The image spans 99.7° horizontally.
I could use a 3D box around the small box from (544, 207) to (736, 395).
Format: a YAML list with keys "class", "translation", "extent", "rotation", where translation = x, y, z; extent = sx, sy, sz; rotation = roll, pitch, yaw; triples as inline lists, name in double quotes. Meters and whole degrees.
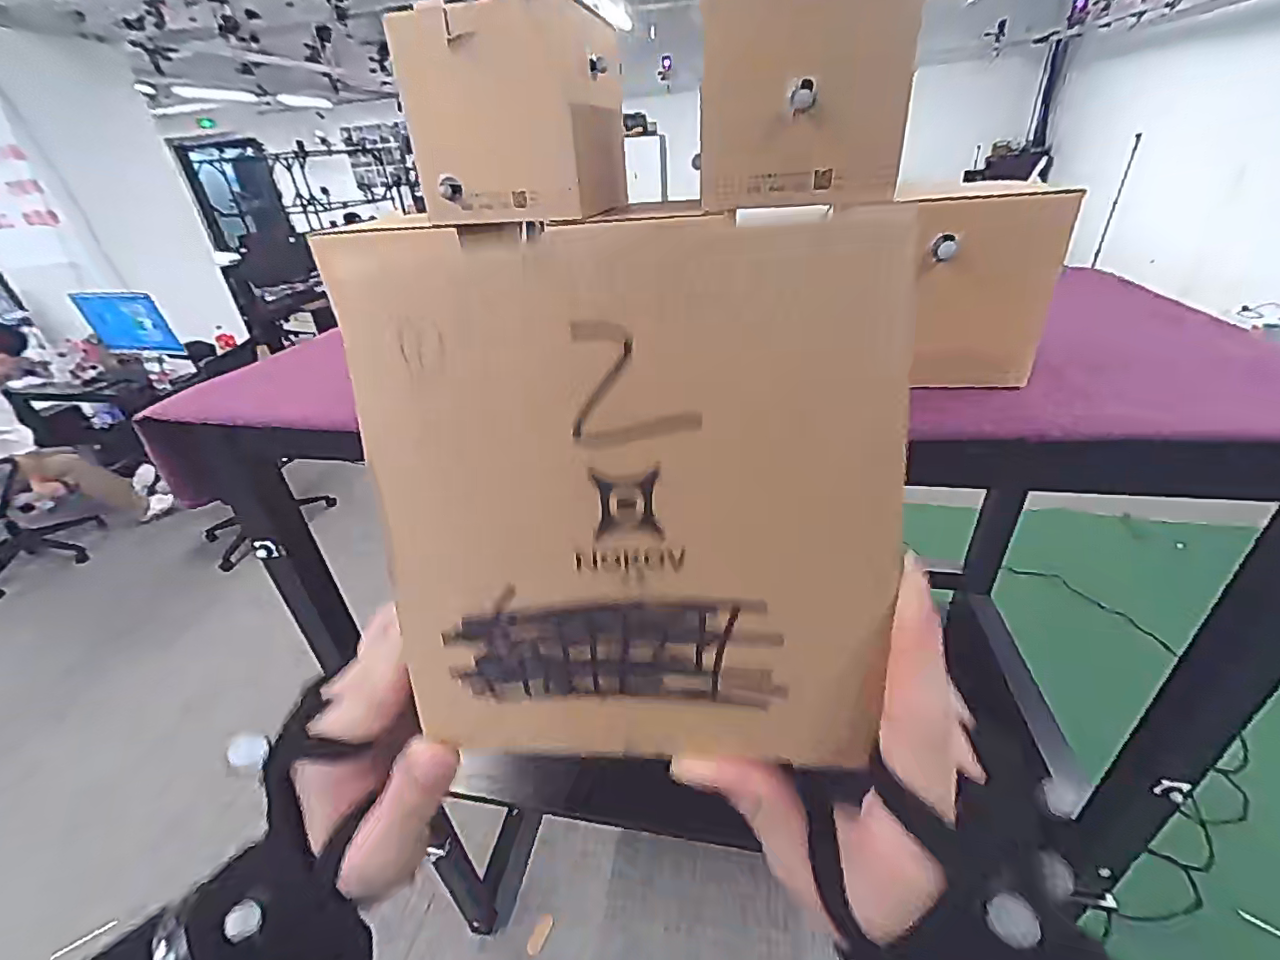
- class: "small box"
  translation: [0.014, -0.201, 0.605]
  extent: [0.179, 0.176, 0.168]
  rotation: [3, 32, 12]

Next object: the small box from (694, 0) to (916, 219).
- class: "small box"
  translation: [0.144, -0.341, 0.501]
  extent: [0.168, 0.176, 0.179]
  rotation: [2, 32, 12]

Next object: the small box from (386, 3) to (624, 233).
- class: "small box"
  translation: [-0.117, -0.355, 0.559]
  extent: [0.168, 0.176, 0.179]
  rotation: [4, 31, 13]

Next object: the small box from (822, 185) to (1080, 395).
- class: "small box"
  translation: [0.286, -0.192, 0.548]
  extent: [0.179, 0.176, 0.168]
  rotation: [1, 31, 13]

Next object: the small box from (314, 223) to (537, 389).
- class: "small box"
  translation: [-0.246, -0.218, 0.669]
  extent: [0.179, 0.176, 0.168]
  rotation: [1, 32, 11]
